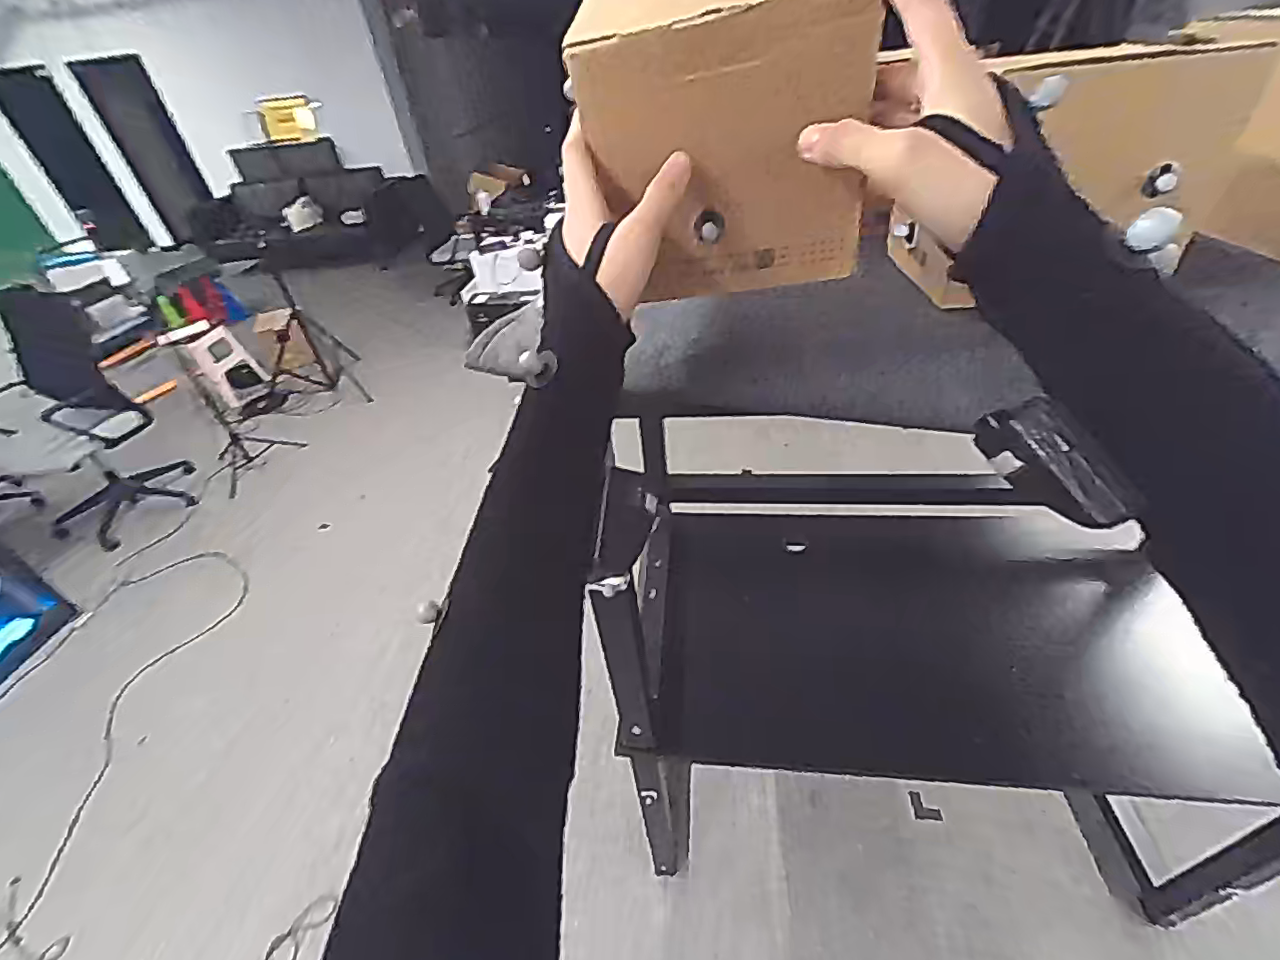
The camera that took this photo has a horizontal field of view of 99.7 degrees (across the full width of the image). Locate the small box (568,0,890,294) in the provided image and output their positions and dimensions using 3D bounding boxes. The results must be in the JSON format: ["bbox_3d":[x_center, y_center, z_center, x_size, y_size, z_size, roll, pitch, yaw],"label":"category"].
[{"bbox_3d":[0.063,-0.260,0.383,0.168,0.176,0.179,-4,54,12],"label":"small box"}]

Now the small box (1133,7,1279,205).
[{"bbox_3d":[0.705,-0.410,0.590,0.168,0.176,0.179,0,39,10],"label":"small box"}]

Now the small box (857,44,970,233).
[{"bbox_3d":[0.262,-0.405,0.651,0.168,0.176,0.179,0,39,8],"label":"small box"}]
